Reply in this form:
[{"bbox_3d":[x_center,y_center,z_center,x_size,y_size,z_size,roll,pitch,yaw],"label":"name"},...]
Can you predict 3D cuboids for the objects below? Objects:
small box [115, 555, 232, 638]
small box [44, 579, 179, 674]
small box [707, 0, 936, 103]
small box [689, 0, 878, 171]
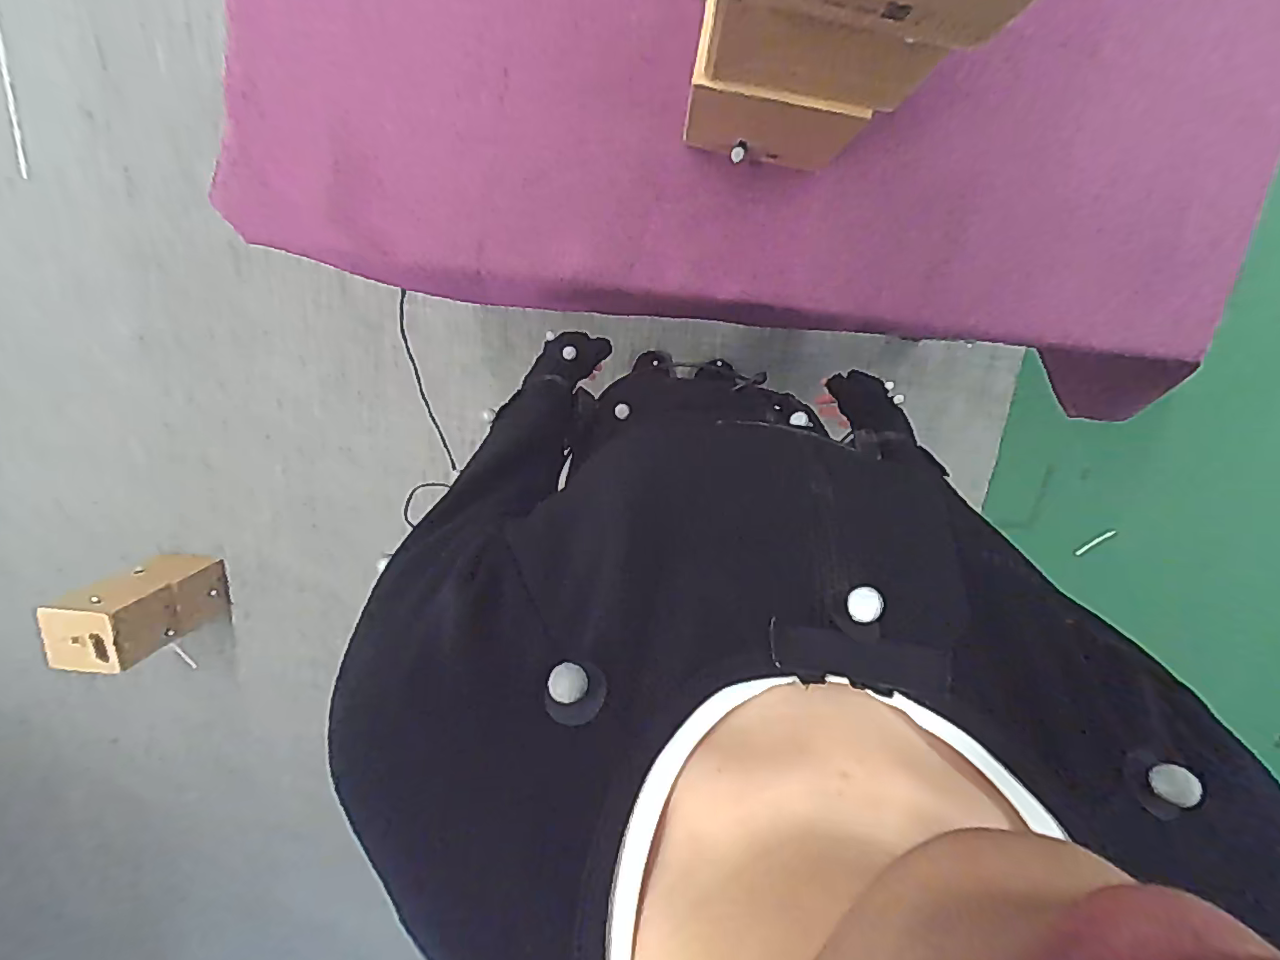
[{"bbox_3d":[-1.297,0.320,1.514,0.179,0.176,0.168,6,106,-1],"label":"small box"},{"bbox_3d":[-1.307,0.361,1.356,0.179,0.176,0.168,5,105,1],"label":"small box"},{"bbox_3d":[0.150,-0.397,0.377,0.179,0.176,0.168,9,105,-1],"label":"small box"},{"bbox_3d":[0.146,-0.438,0.534,0.168,0.176,0.179,11,105,-1],"label":"small box"}]
